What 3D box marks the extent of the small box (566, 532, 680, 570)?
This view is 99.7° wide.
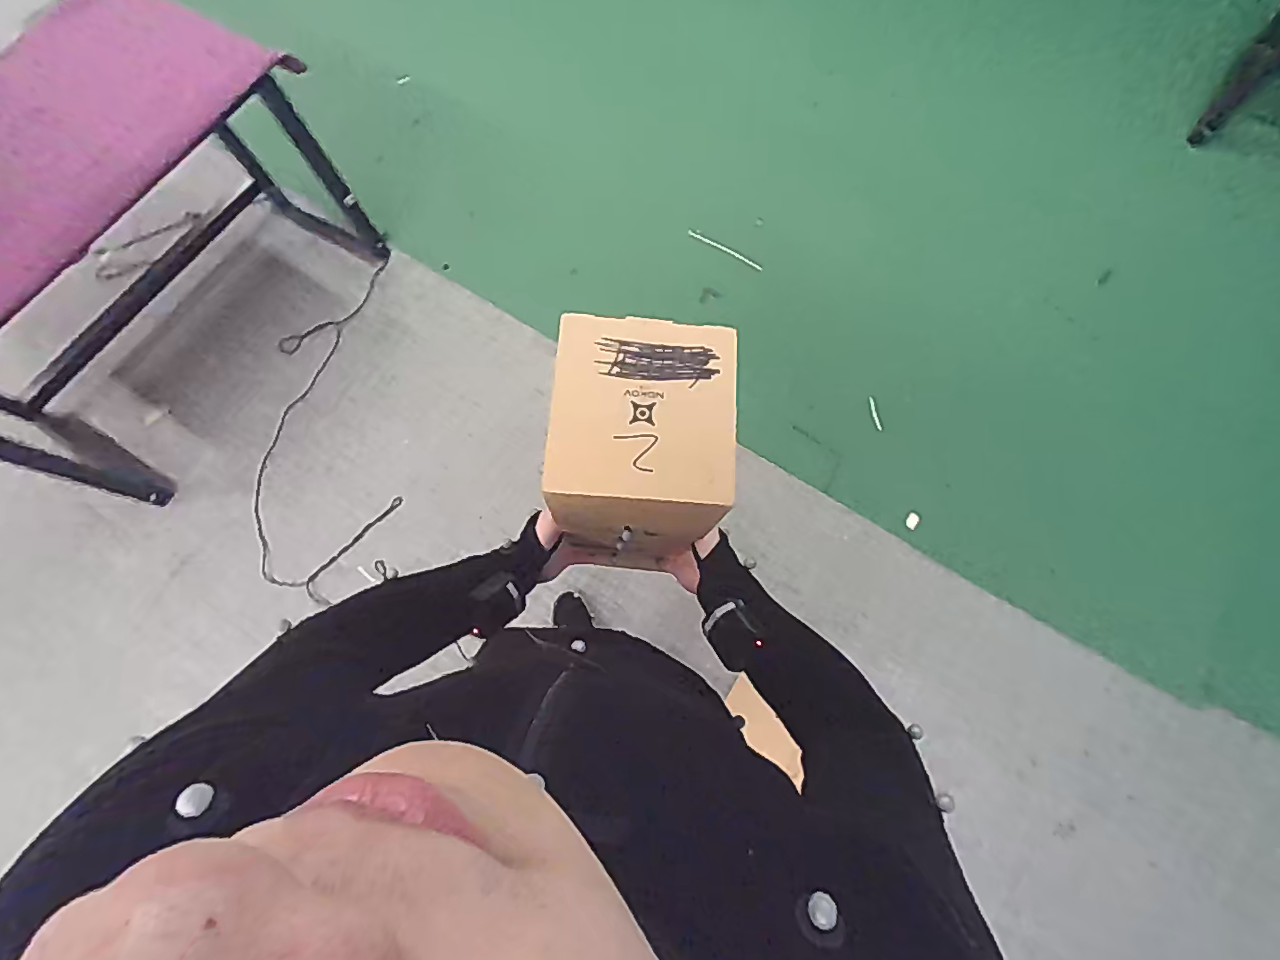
[{"bbox_3d":[-0.021,0.041,0.869,0.168,0.176,0.179,6,74,-1],"label":"small box"}]

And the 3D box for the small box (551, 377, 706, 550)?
[{"bbox_3d":[-0.014,-0.011,0.710,0.168,0.176,0.179,7,73,-2],"label":"small box"}]
